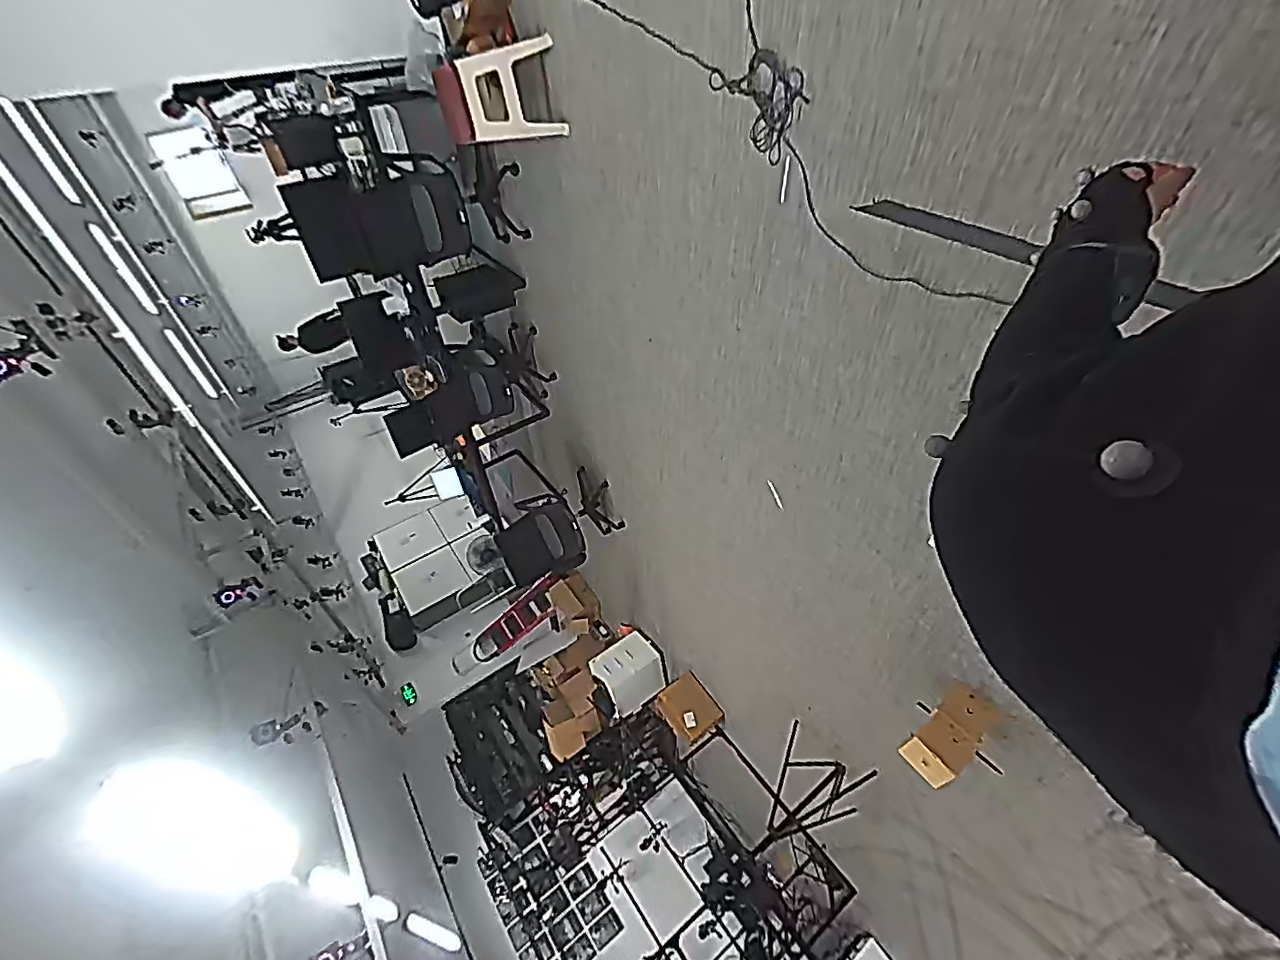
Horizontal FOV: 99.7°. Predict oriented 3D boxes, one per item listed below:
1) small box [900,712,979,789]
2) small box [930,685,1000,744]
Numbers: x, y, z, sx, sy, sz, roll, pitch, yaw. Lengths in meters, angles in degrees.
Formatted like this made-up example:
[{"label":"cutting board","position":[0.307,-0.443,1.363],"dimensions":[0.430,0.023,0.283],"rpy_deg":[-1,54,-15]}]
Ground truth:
[{"label":"small box","position":[1.107,0.995,1.997],"dimensions":[0.168,0.176,0.179],"rpy_deg":[45,151,32]},{"label":"small box","position":[1.235,0.924,2.069],"dimensions":[0.168,0.176,0.179],"rpy_deg":[42,150,38]}]
